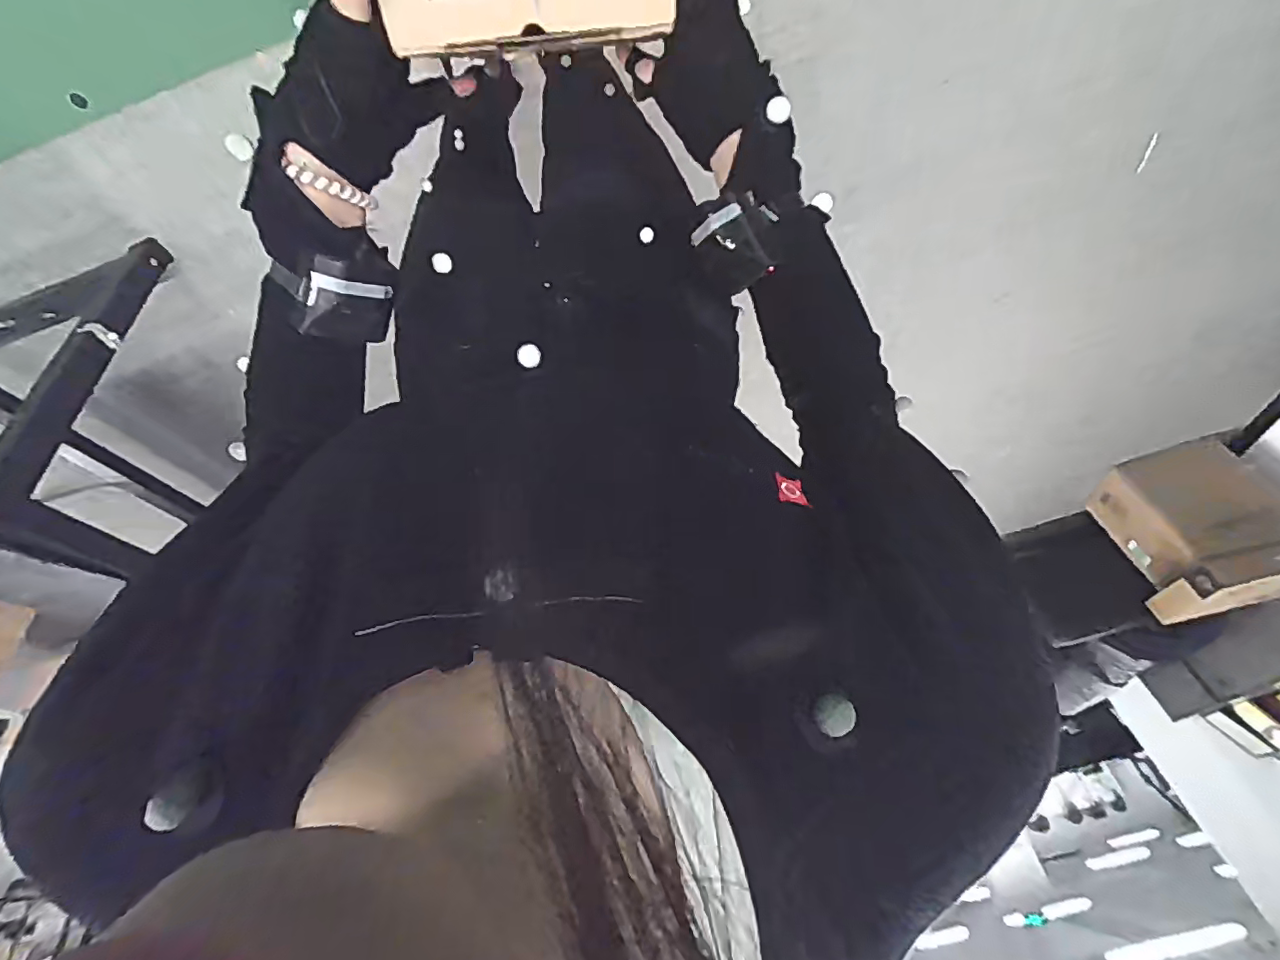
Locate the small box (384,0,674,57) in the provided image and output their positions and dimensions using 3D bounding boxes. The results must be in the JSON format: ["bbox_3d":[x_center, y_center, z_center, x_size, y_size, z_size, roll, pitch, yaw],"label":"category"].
[{"bbox_3d":[-0.068,-0.371,0.322,0.168,0.176,0.179,-5,128,1],"label":"small box"}]
